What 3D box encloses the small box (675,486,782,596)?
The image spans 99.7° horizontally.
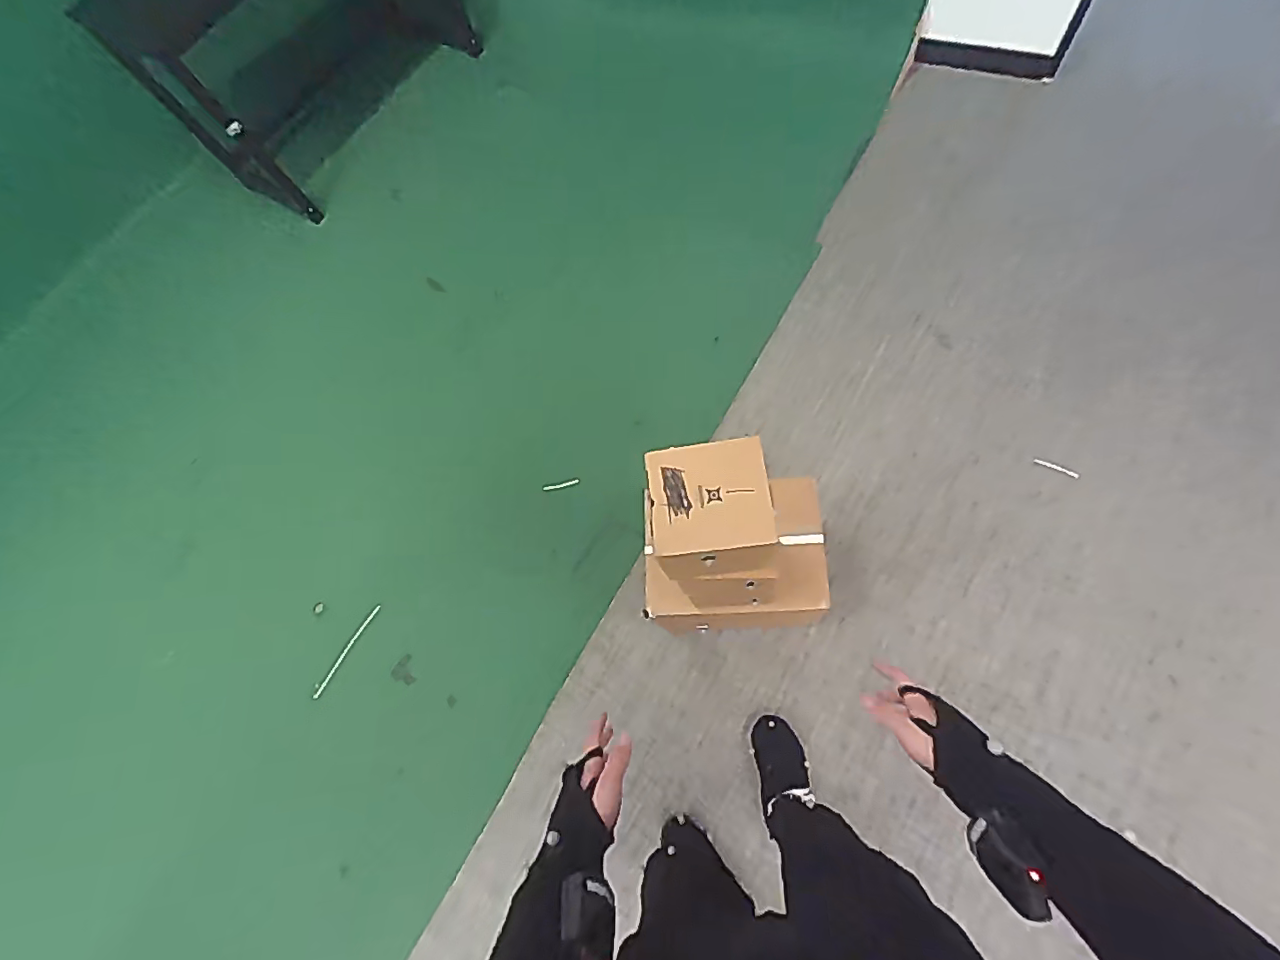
[{"bbox_3d":[0.159,0.115,0.984,0.179,0.176,0.168,-2,68,10],"label":"small box"}]

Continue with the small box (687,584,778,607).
[{"bbox_3d":[0.190,0.172,1.135,0.179,0.176,0.168,-4,69,10],"label":"small box"}]

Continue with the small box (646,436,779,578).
[{"bbox_3d":[0.113,0.051,0.839,0.179,0.176,0.168,-8,68,8],"label":"small box"}]
